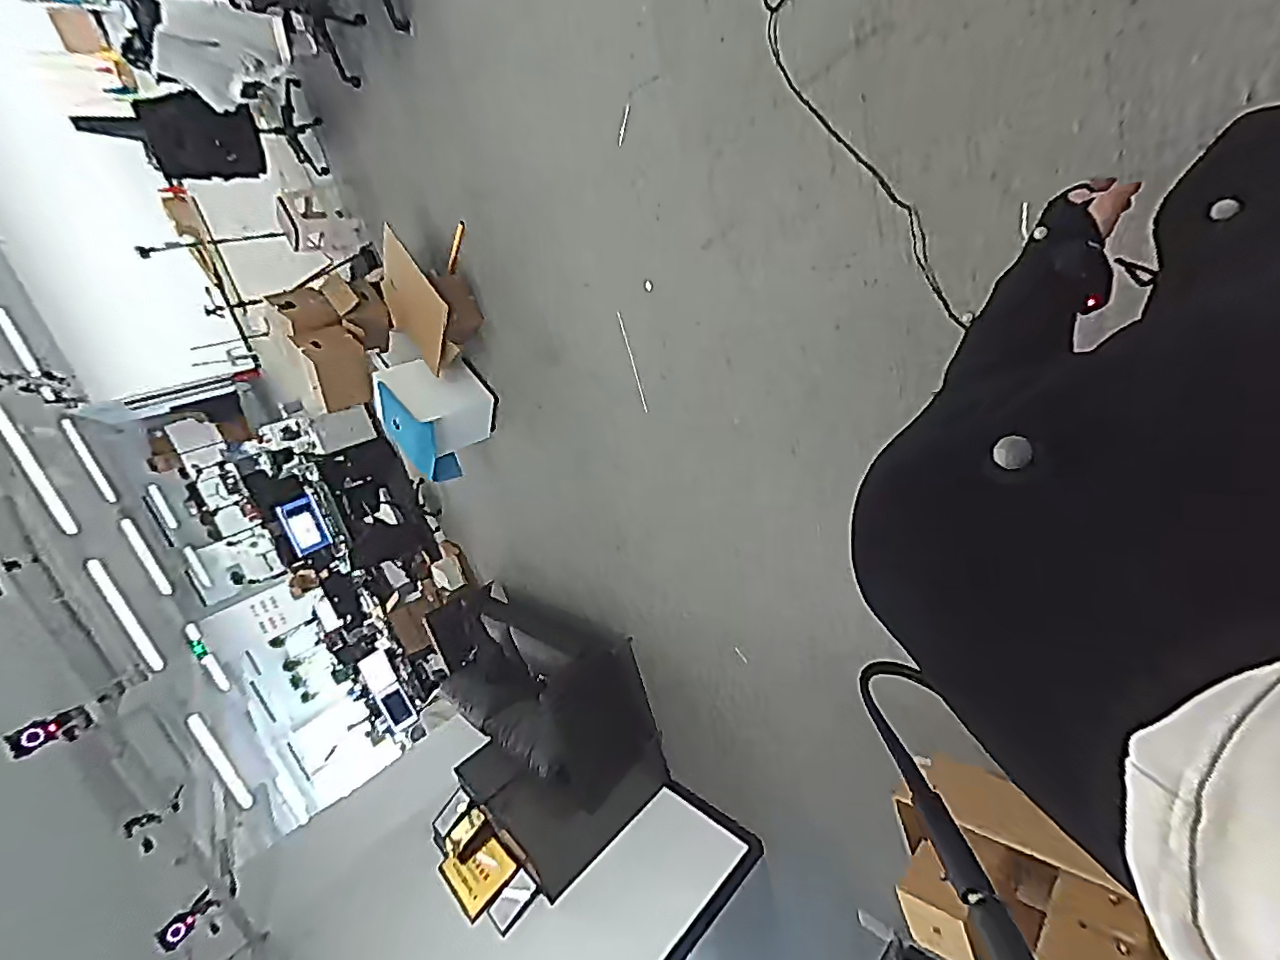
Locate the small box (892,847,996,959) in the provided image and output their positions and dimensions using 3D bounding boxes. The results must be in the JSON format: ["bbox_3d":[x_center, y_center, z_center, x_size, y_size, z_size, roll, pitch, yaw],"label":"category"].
[{"bbox_3d":[0.783,1.100,1.389,0.168,0.176,0.179,-8,106,53],"label":"small box"}]

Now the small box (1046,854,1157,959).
[{"bbox_3d":[1.083,1.035,1.267,0.168,0.176,0.179,-5,109,51],"label":"small box"}]

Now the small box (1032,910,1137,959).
[{"bbox_3d":[0.966,1.100,1.172,0.168,0.176,0.179,1,115,50],"label":"small box"}]
